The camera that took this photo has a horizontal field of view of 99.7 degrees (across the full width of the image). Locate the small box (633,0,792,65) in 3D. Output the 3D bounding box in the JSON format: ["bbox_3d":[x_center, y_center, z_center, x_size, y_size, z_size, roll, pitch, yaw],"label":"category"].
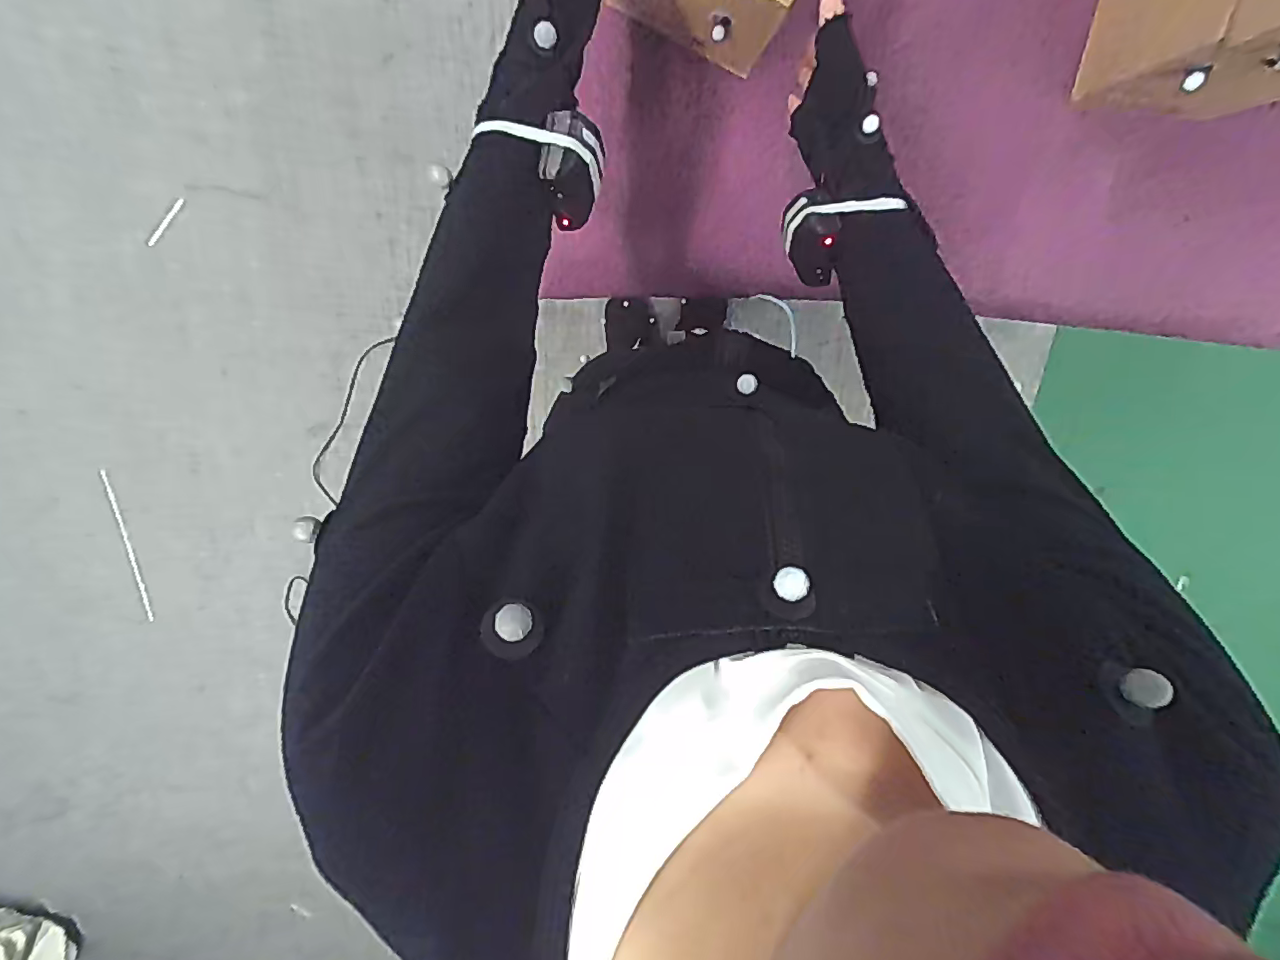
[{"bbox_3d":[0.080,-0.505,0.458,0.168,0.176,0.179,21,107,-10],"label":"small box"}]

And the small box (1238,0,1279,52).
[{"bbox_3d":[0.579,-0.408,0.357,0.168,0.176,0.179,3,108,-4],"label":"small box"}]

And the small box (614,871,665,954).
[{"bbox_3d":[-0.006,1.531,1.927,0.168,0.176,0.179,-4,111,-3],"label":"small box"}]
